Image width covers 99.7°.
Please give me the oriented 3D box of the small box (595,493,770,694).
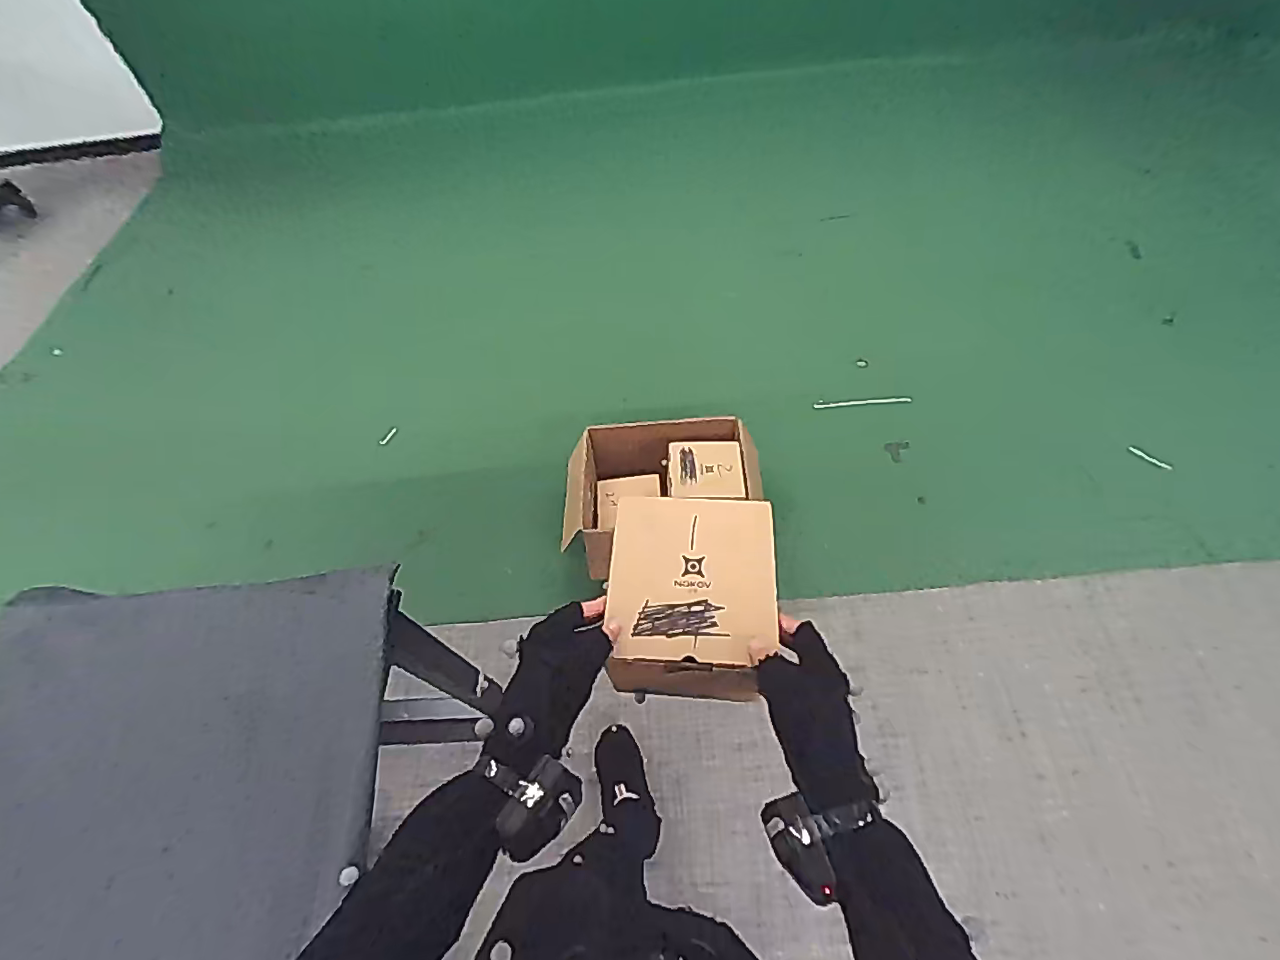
[{"bbox_3d":[0.050,0.133,0.607,0.168,0.176,0.179,3,58,4],"label":"small box"}]
